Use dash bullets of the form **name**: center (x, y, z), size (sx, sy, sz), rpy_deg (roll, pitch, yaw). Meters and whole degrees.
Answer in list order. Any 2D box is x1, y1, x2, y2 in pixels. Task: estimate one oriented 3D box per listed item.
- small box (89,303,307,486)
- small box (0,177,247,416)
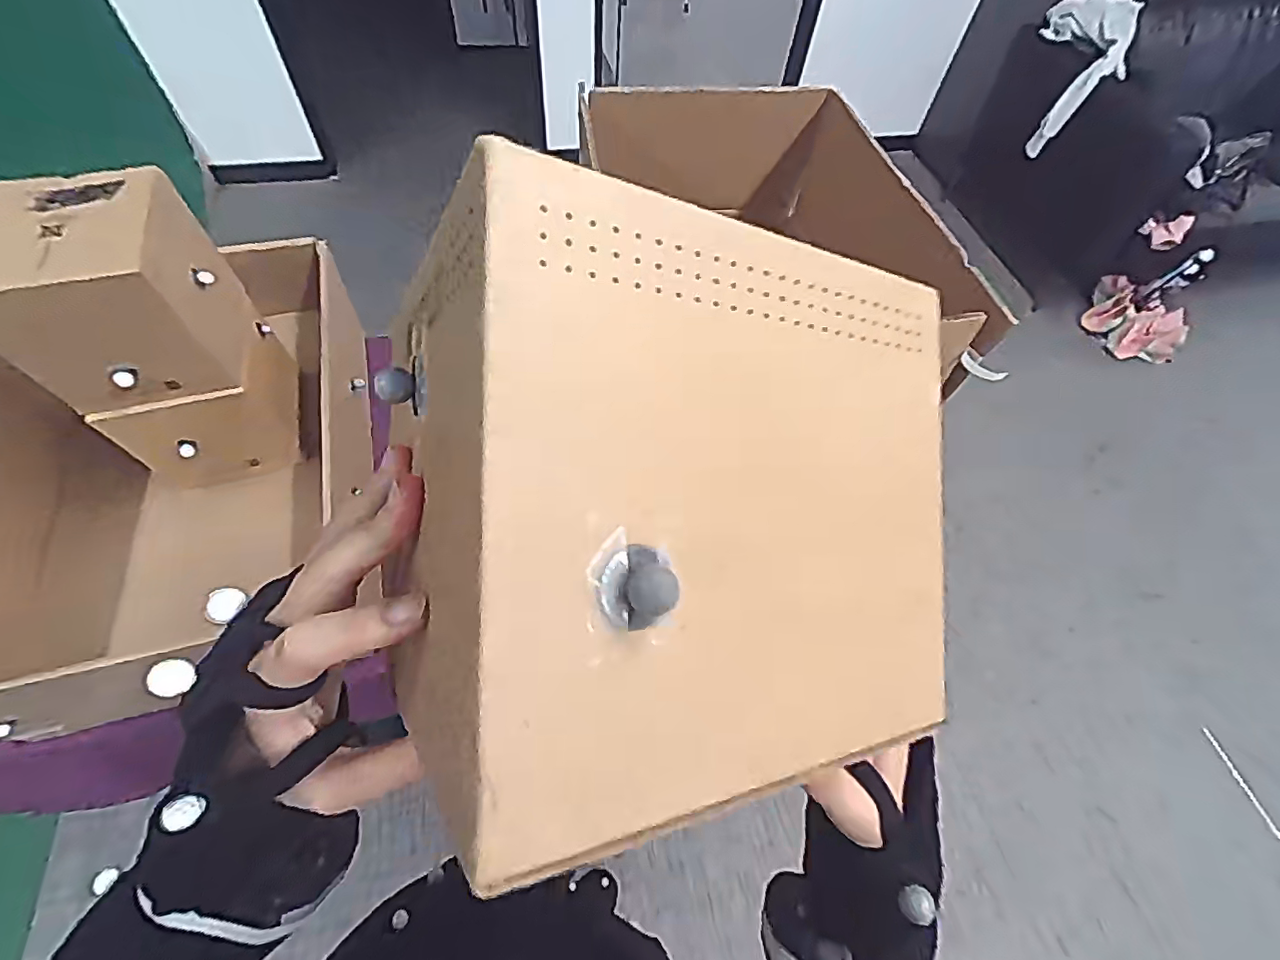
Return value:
- **small box**: center (-0.578, -0.108, 0.735), size (0.168, 0.176, 0.179), rpy_deg (-15, 61, -12)
- **small box**: center (-0.570, -0.198, 0.598), size (0.168, 0.176, 0.179), rpy_deg (-14, 62, -11)
